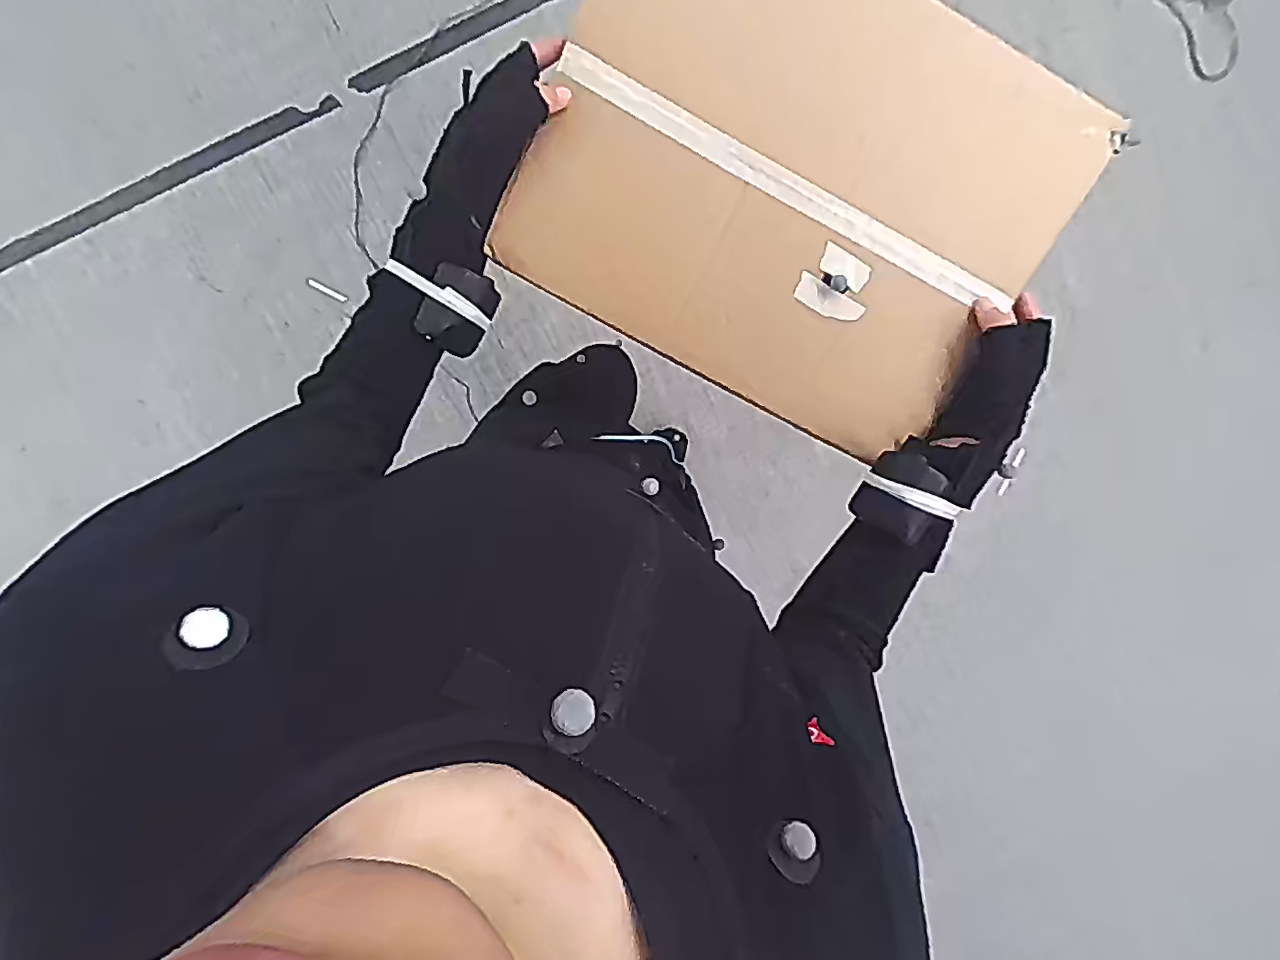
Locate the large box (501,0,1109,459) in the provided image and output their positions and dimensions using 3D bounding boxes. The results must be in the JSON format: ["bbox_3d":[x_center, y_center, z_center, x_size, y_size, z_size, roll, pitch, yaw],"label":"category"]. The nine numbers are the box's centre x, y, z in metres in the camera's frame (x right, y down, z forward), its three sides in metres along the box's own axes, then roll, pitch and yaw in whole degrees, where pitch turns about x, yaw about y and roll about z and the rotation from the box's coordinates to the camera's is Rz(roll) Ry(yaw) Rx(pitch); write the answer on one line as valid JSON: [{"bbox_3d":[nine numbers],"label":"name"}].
[{"bbox_3d":[0.126,-0.269,0.581,0.408,0.320,0.320,27,104,-5],"label":"large box"}]
